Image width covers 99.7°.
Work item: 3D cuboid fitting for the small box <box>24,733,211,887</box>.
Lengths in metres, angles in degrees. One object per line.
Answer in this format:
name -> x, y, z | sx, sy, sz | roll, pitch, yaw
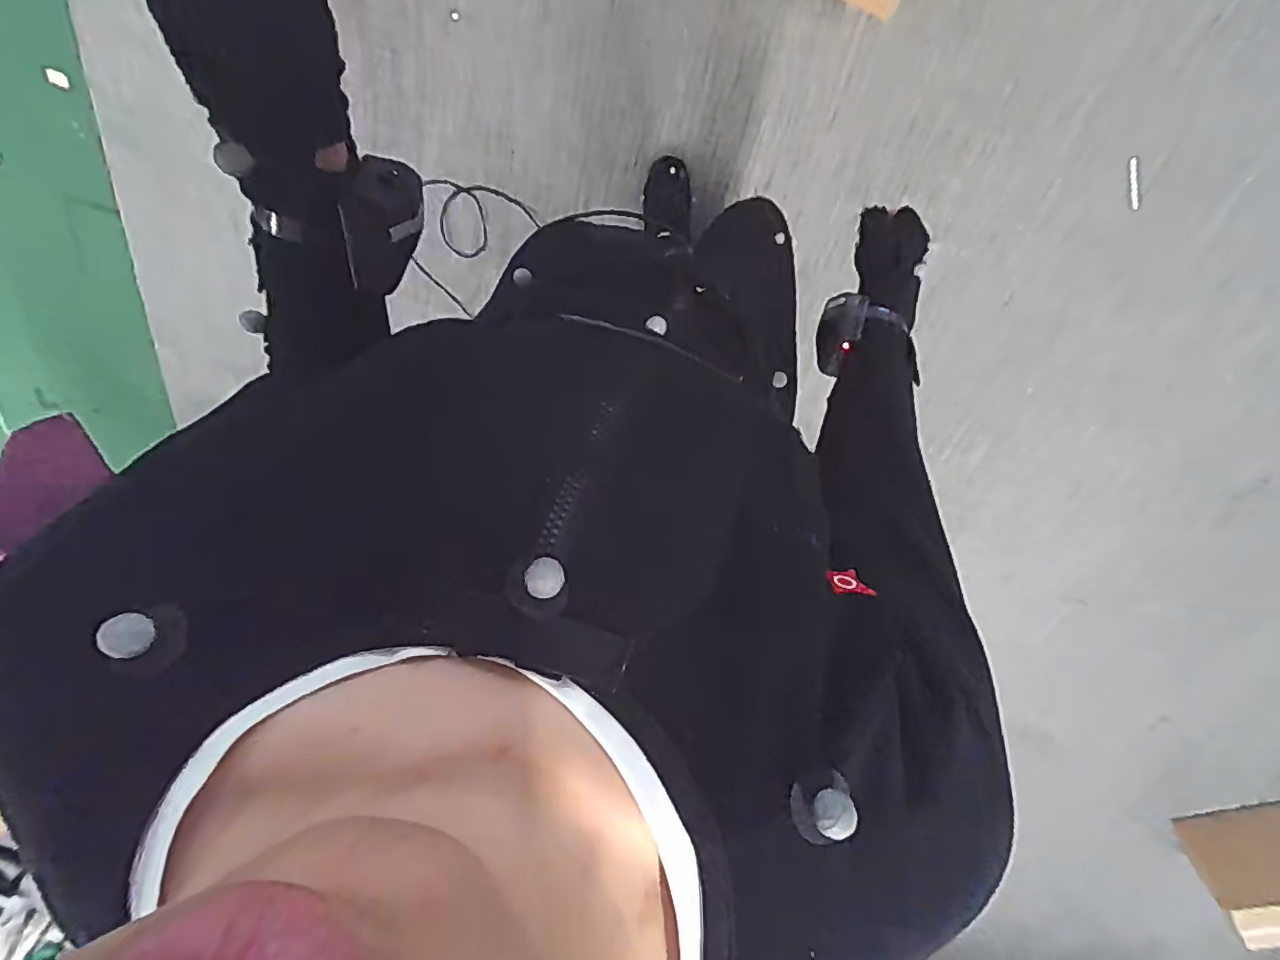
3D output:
small box -> -0.942, 0.606, 1.000 | 0.168, 0.176, 0.179 | 17, 123, -3
